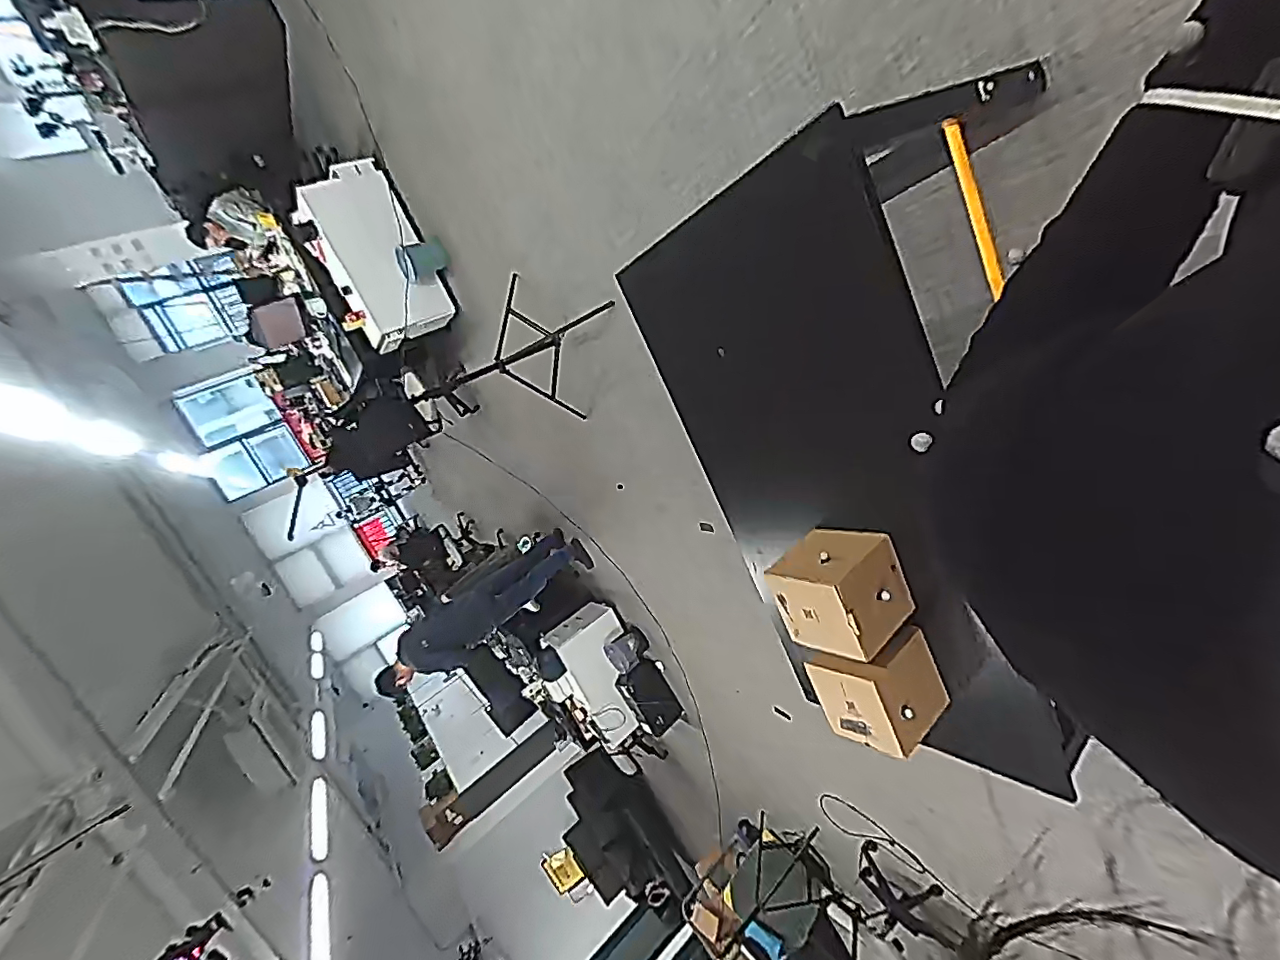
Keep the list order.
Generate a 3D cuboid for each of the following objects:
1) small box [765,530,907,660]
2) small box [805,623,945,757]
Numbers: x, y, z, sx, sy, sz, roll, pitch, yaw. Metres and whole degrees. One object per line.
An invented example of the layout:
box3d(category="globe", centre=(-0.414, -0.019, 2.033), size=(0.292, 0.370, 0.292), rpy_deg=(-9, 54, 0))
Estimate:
box3d(category="small box", centre=(0.380, 0.208, 1.032), size=(0.179, 0.176, 0.168), rpy_deg=(-4, 115, 58))
box3d(category="small box", centre=(0.470, 0.399, 1.076), size=(0.168, 0.176, 0.179), rpy_deg=(-8, 110, 60))
